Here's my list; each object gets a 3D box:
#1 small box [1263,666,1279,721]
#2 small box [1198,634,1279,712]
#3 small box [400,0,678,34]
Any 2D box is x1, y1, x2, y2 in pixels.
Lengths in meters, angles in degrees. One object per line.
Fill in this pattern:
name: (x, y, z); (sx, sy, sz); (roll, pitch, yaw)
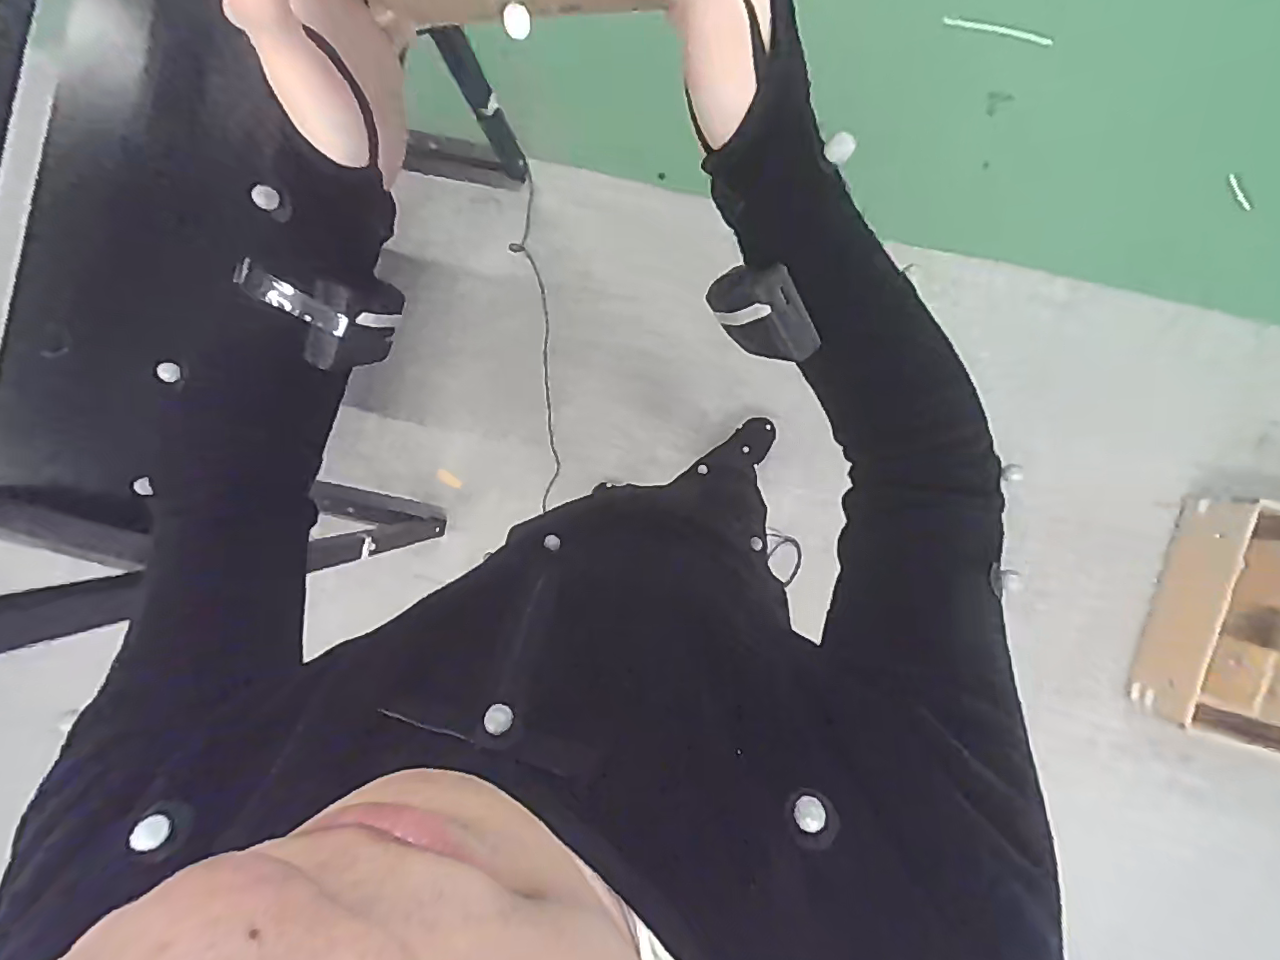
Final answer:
small box: (1.619, 0.519, 1.239); (0.179, 0.176, 0.168); (17, 91, 3)
small box: (1.628, 0.517, 1.404); (0.179, 0.176, 0.168); (17, 91, 4)
small box: (-0.064, -0.328, 0.240); (0.168, 0.176, 0.179); (1, 122, 5)
